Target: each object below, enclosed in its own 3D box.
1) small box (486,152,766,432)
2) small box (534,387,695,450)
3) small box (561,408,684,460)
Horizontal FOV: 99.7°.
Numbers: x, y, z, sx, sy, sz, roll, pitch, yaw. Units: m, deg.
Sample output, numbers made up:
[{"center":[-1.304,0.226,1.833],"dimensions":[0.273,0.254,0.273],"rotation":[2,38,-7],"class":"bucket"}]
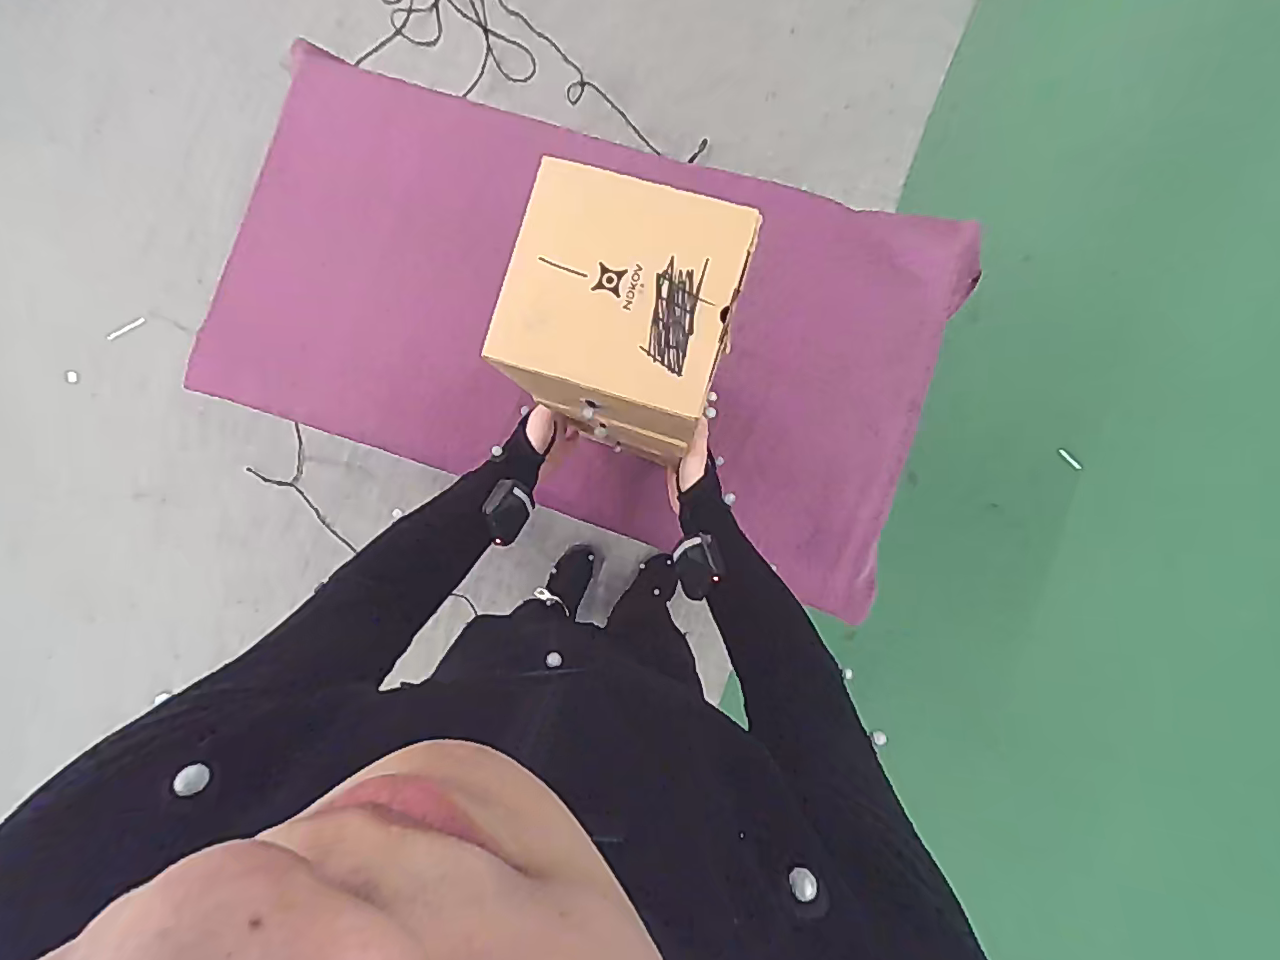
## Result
[{"center":[-0.007,-0.146,0.486],"dimensions":[0.179,0.176,0.168],"rotation":[17,90,4],"class":"small box"},{"center":[-0.002,-0.140,0.650],"dimensions":[0.179,0.176,0.168],"rotation":[19,90,4],"class":"small box"},{"center":[0.004,-0.135,0.814],"dimensions":[0.179,0.176,0.168],"rotation":[21,90,3],"class":"small box"}]
